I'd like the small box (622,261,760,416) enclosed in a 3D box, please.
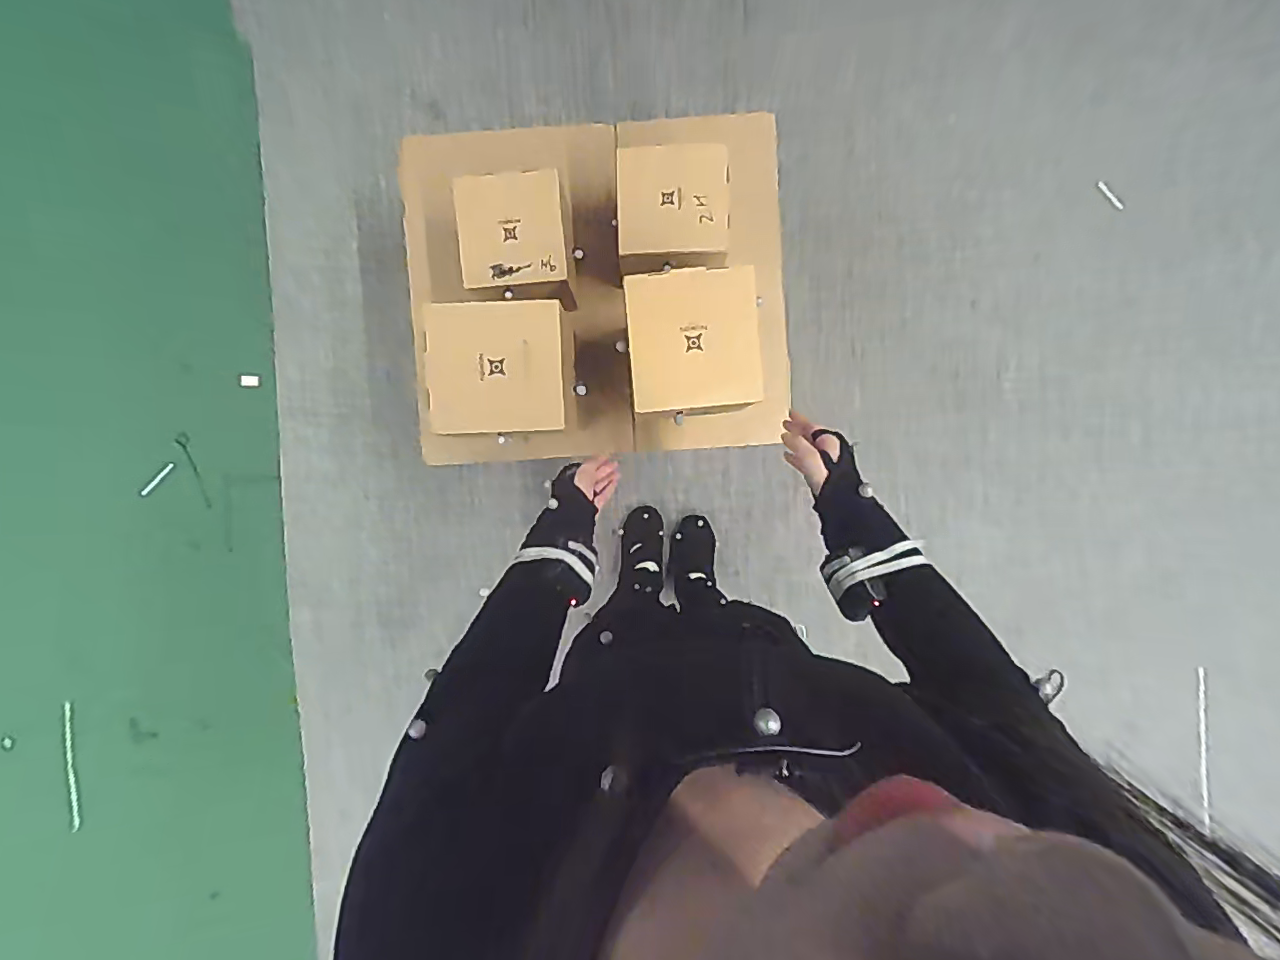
[{"bbox_3d":[0.068,-0.184,0.759,0.168,0.176,0.179,-5,92,2],"label":"small box"}]

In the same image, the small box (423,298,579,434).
[{"bbox_3d":[-0.185,-0.151,0.764,0.179,0.176,0.168,-1,93,0],"label":"small box"}]

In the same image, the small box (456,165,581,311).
[{"bbox_3d":[-0.197,-0.396,0.917,0.168,0.176,0.179,-5,91,3],"label":"small box"}]
